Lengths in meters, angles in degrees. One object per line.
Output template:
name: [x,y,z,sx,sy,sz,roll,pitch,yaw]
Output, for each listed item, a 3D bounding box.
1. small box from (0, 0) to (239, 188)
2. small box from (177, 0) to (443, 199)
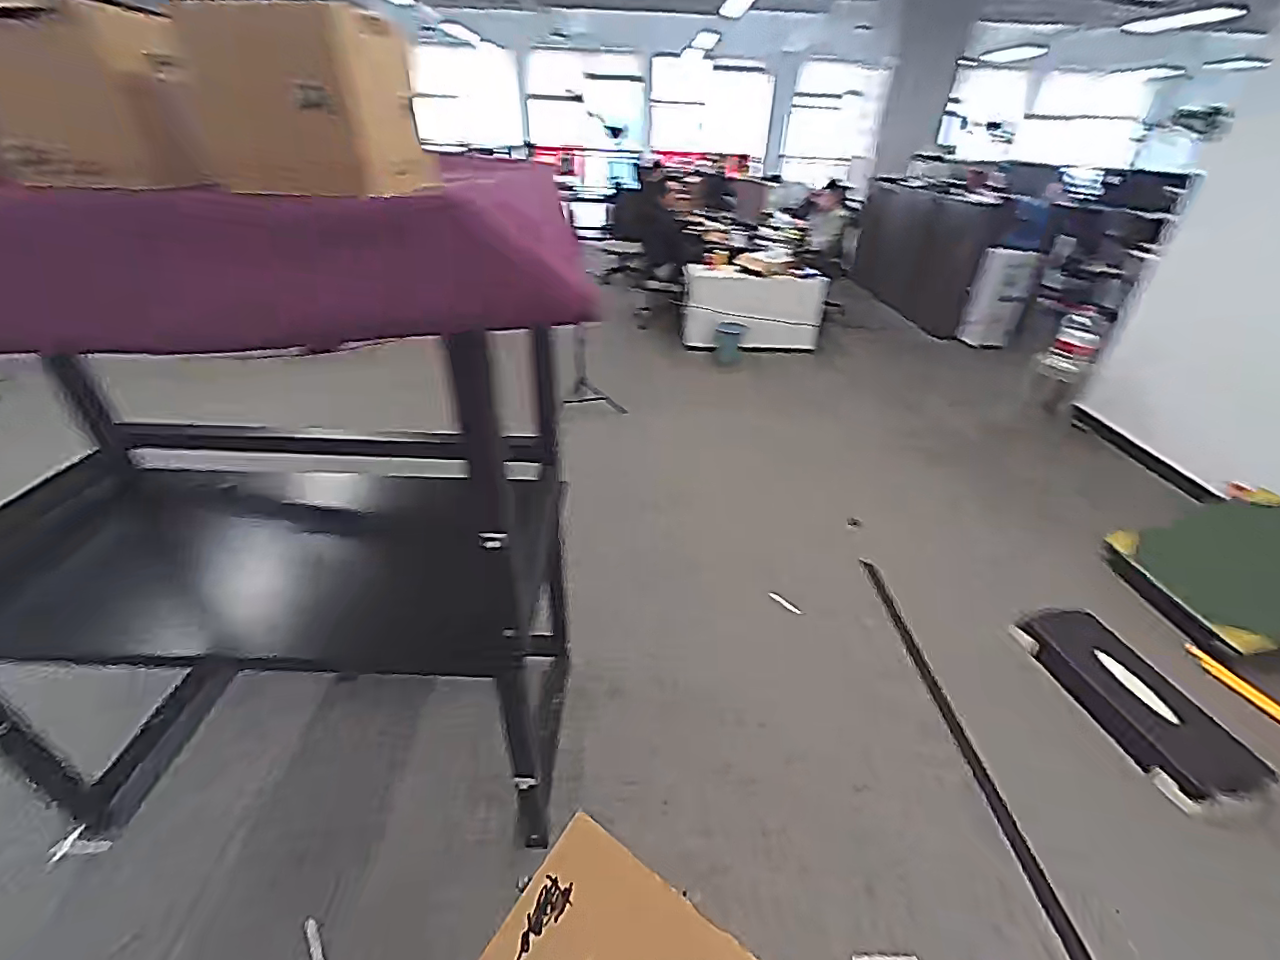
small box: [-0.594,-0.441,0.631,0.168,0.176,0.179,3,32,0]
small box: [-0.344,-0.419,0.611,0.179,0.176,0.168,4,32,5]
